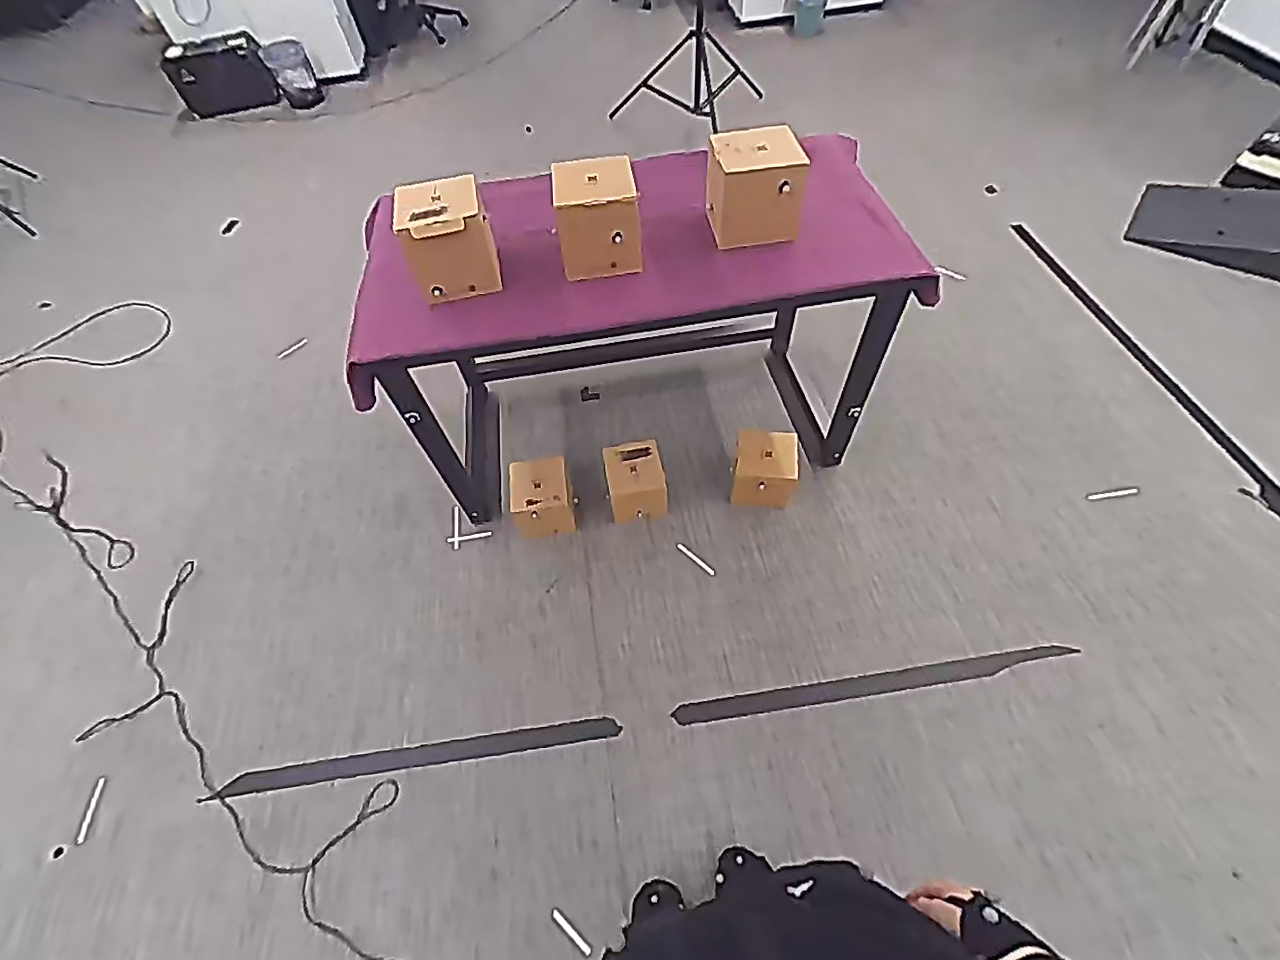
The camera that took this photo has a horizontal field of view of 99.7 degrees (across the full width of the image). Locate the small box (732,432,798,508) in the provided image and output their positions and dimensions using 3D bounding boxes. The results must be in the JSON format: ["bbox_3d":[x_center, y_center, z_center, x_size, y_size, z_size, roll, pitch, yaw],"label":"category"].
[{"bbox_3d":[0.378,-0.027,1.651,0.179,0.176,0.168,4,58,9],"label":"small box"}]

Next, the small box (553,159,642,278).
[{"bbox_3d":[-0.089,-0.550,1.154,0.168,0.176,0.179,-8,54,-2],"label":"small box"}]

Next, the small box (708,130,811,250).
[{"bbox_3d":[0.250,-0.628,1.179,0.179,0.176,0.168,-8,55,-1],"label":"small box"}]

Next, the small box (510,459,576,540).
[{"bbox_3d":[-0.290,0.060,1.639,0.168,0.176,0.179,-7,55,-1],"label":"small box"}]

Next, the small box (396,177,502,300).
[{"bbox_3d":[-0.396,-0.500,1.139,0.168,0.176,0.179,-13,55,-5],"label":"small box"}]
